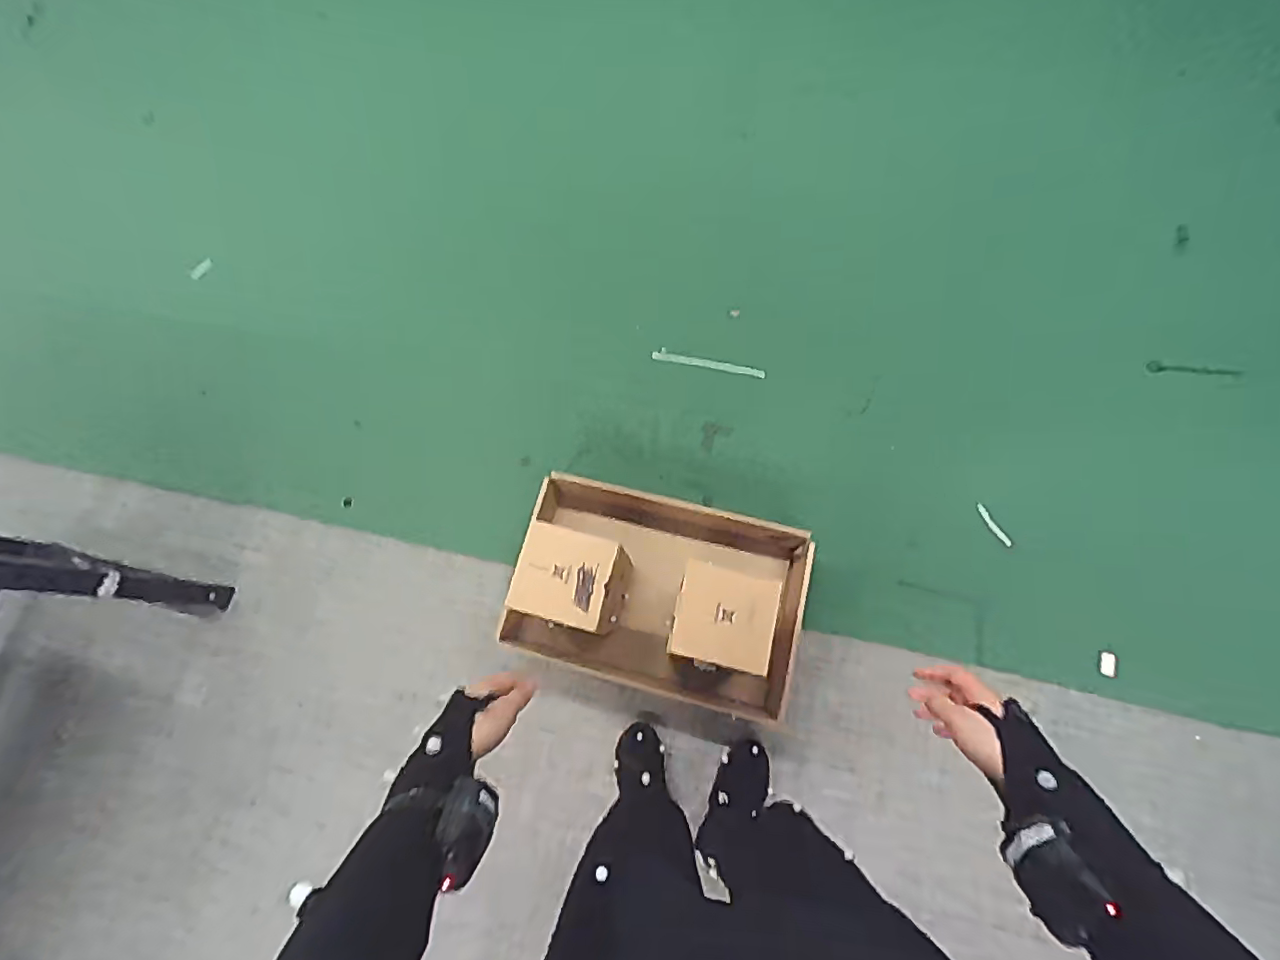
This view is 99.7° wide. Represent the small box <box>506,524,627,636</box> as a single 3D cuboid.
[{"bbox_3d":[-0.131,0.197,1.047,0.179,0.176,0.168,14,74,8],"label":"small box"}]

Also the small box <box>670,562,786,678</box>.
[{"bbox_3d":[0.159,0.261,1.014,0.179,0.176,0.168,12,76,7],"label":"small box"}]

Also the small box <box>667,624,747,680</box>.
[{"bbox_3d":[0.162,0.314,1.168,0.168,0.176,0.179,14,76,8],"label":"small box"}]
